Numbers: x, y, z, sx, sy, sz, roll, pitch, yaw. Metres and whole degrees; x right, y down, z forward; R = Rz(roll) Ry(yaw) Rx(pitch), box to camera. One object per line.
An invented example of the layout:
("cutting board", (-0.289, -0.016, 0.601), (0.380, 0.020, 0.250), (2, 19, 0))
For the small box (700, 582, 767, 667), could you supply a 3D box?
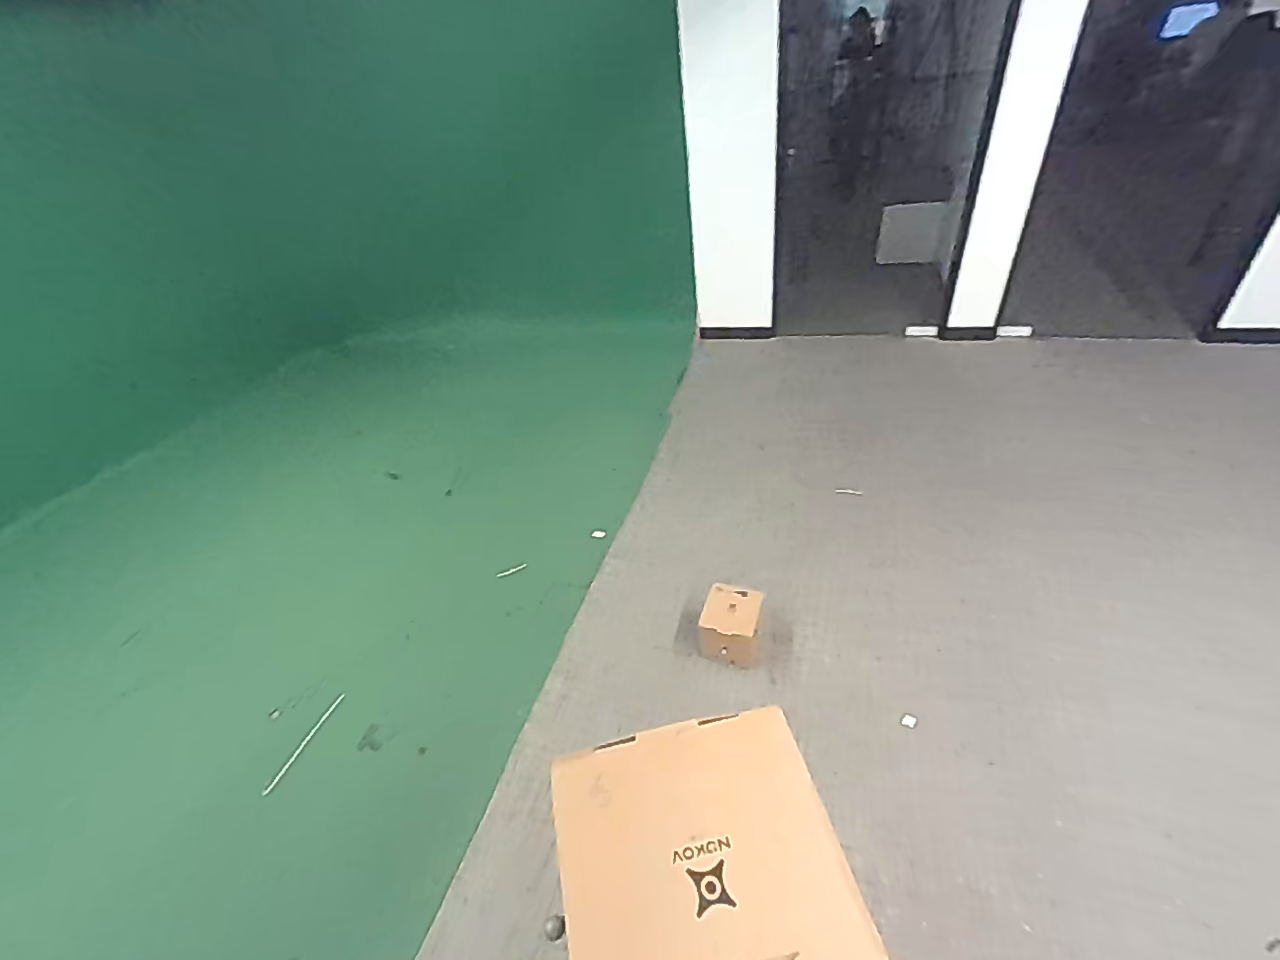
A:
("small box", (0.298, 0.452, 1.686), (0.168, 0.176, 0.179), (8, 42, 22))
